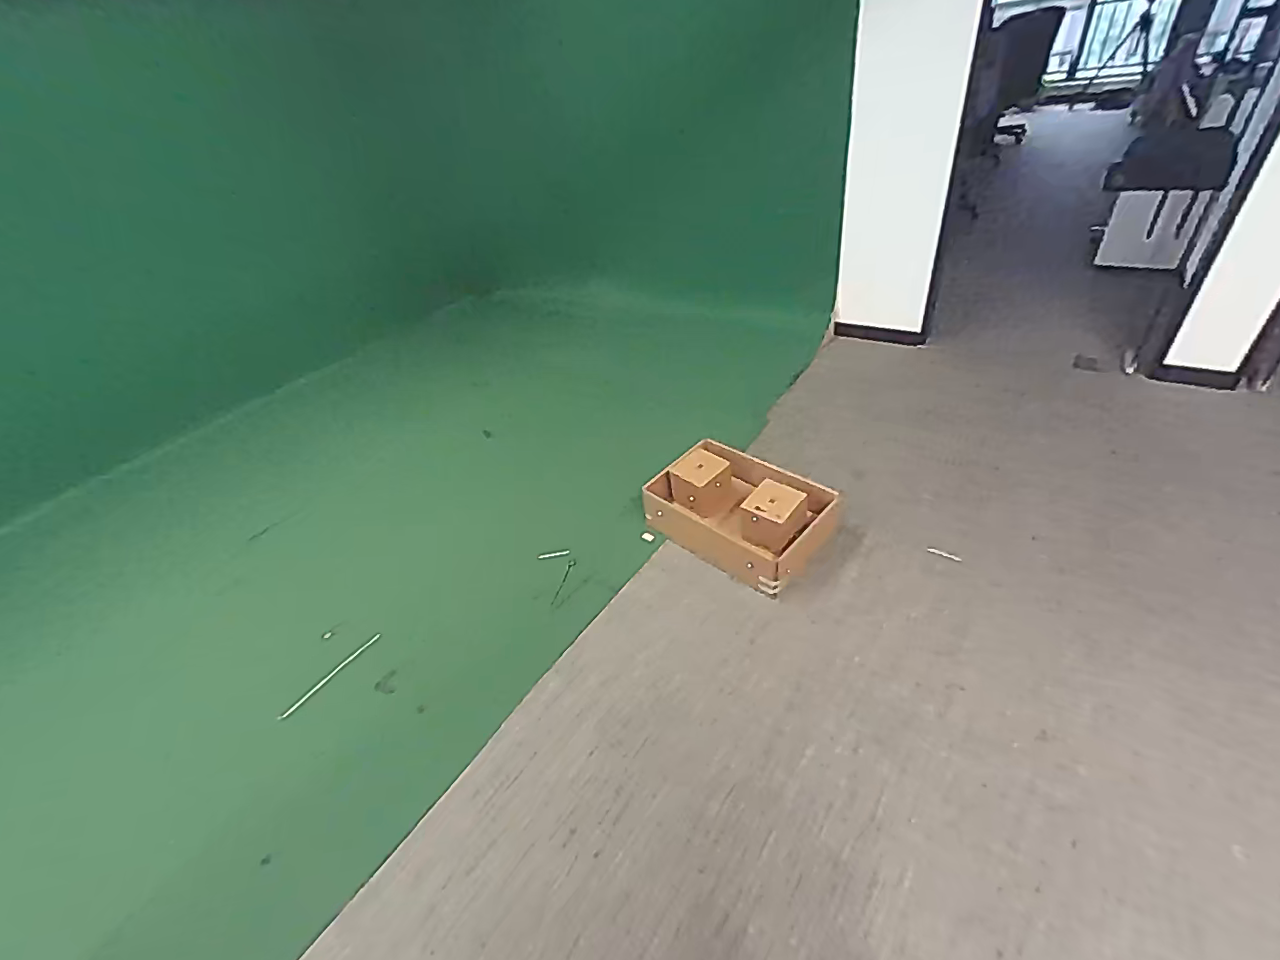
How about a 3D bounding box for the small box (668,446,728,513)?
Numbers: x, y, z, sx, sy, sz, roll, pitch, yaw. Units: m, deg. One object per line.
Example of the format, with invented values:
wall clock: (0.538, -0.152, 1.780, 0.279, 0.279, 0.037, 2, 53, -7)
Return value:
small box: (0.234, 0.000, 2.112, 0.179, 0.176, 0.168, -36, 47, -27)
